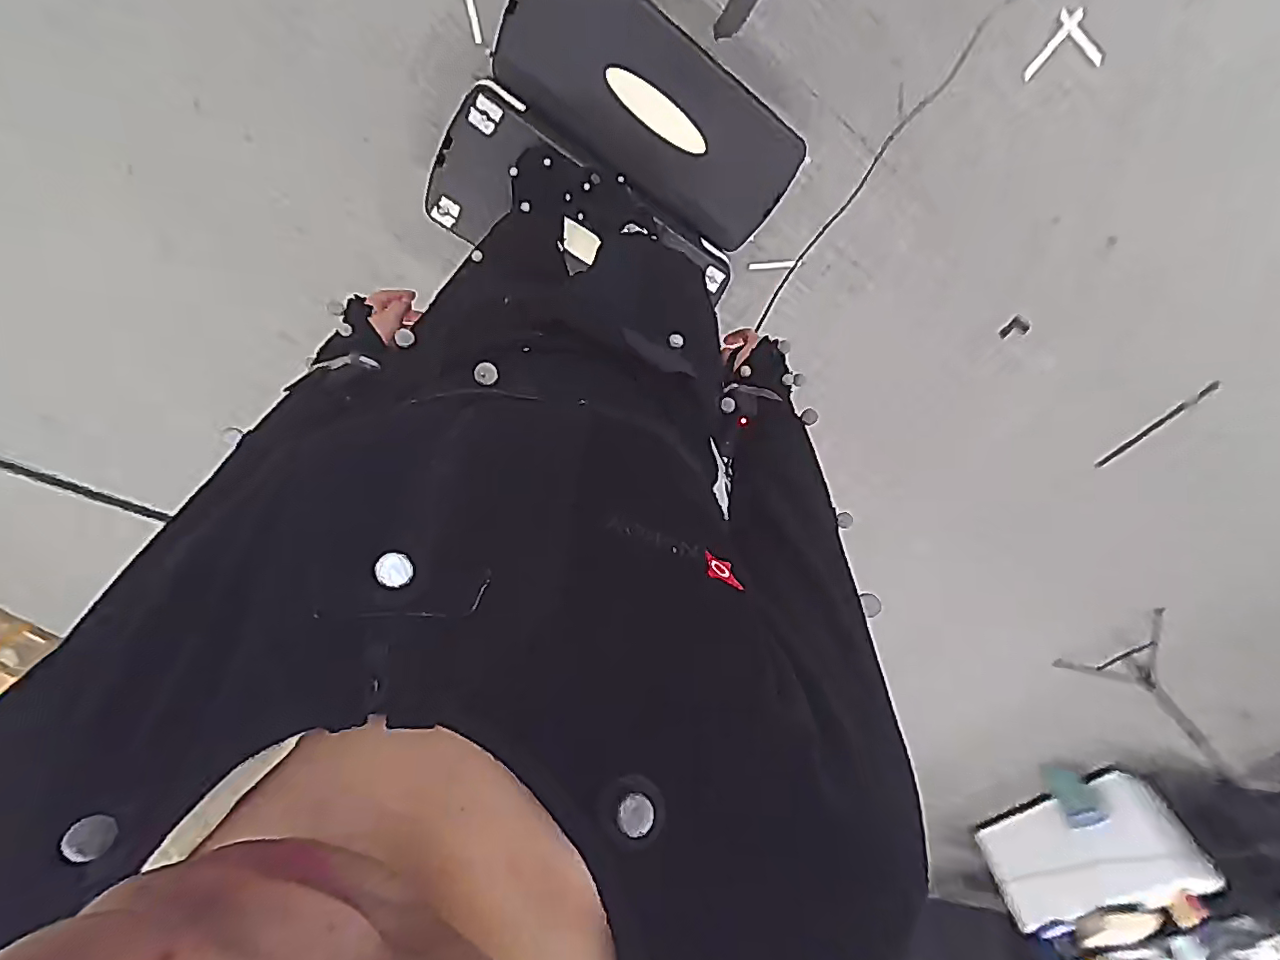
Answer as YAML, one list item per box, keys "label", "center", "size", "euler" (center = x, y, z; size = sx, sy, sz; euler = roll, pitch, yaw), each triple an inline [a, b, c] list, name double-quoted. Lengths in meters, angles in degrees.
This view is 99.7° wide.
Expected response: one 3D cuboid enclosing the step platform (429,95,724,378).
- label: "step platform"
  center: [-0.127, -0.538, 1.272]
  size: [0.684, 0.204, 0.286]
  euler: [31, 118, -22]
